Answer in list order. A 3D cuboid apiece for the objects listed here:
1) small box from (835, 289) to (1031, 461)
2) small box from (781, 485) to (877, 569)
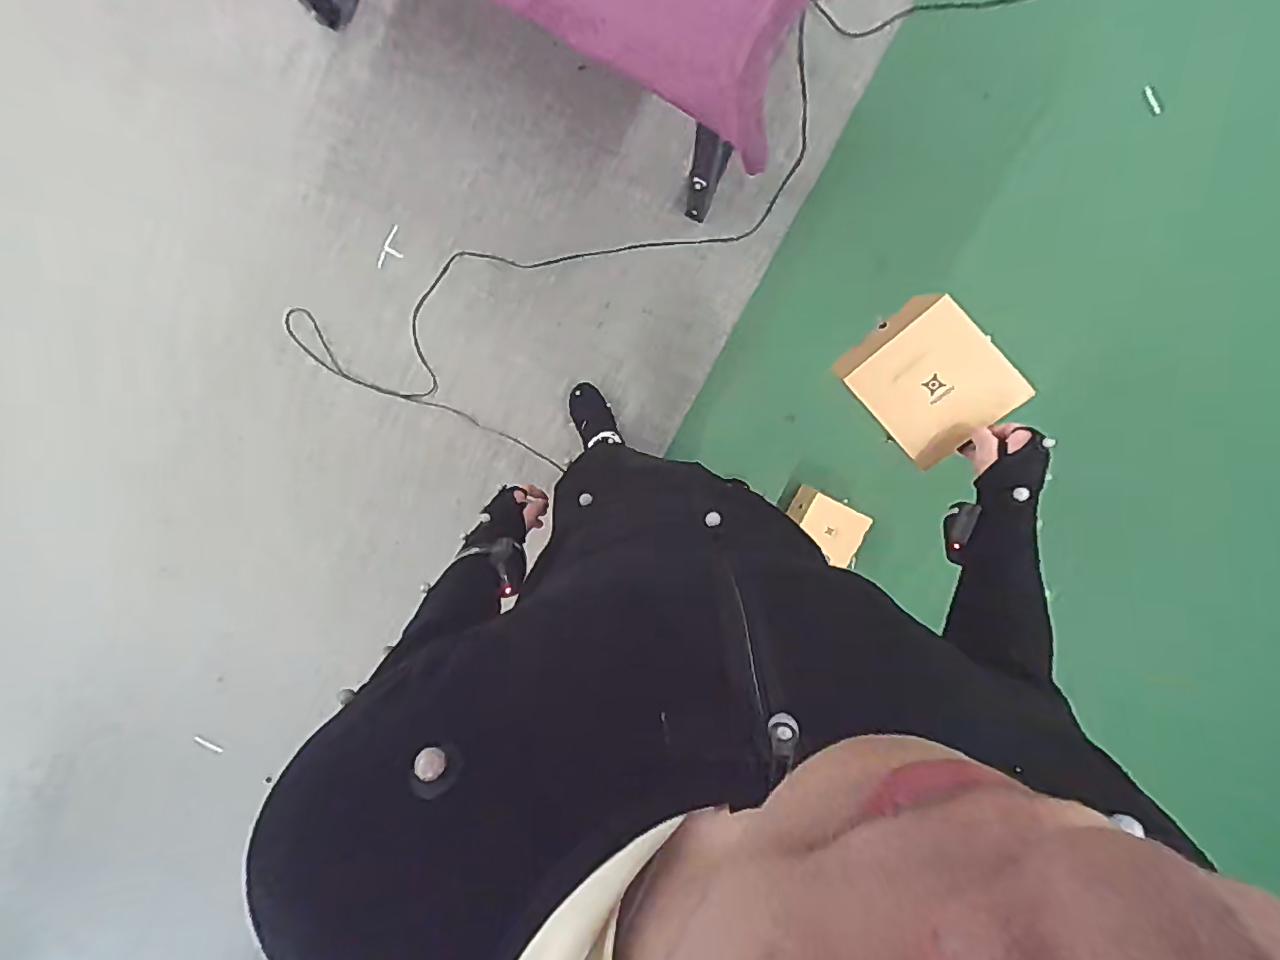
[{"bbox_3d":[0.414,-0.160,0.798,0.168,0.176,0.179,-41,95,21],"label":"small box"},{"bbox_3d":[0.531,0.126,1.550,0.179,0.176,0.168,26,99,-4],"label":"small box"}]
